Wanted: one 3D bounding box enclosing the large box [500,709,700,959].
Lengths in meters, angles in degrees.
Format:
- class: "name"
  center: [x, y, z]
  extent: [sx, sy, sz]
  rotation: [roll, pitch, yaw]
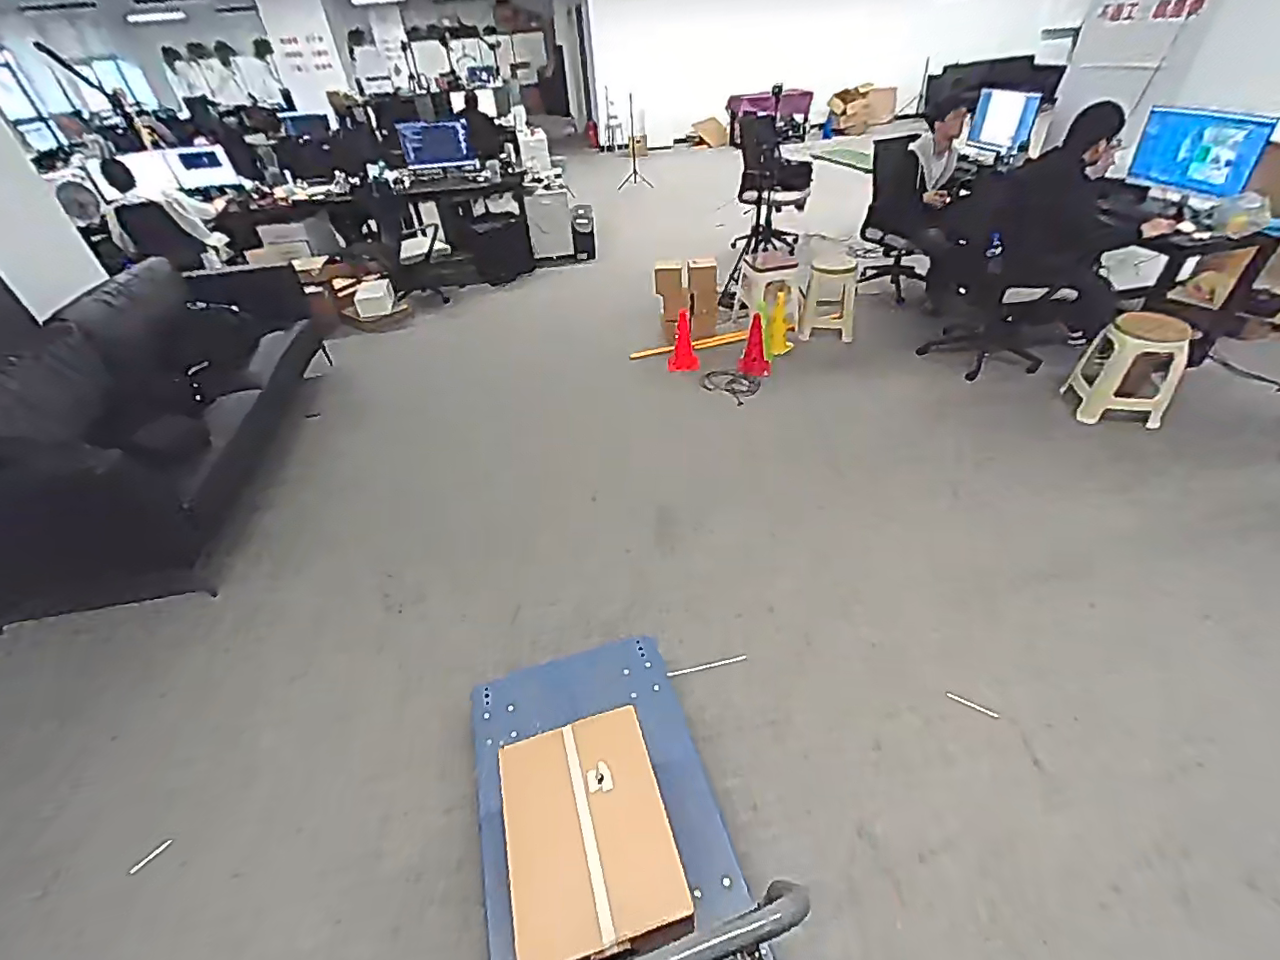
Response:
- class: "large box"
  center: [-0.090, 0.791, 1.156]
  extent: [0.320, 0.320, 0.408]
  rotation: [-14, 39, -11]
